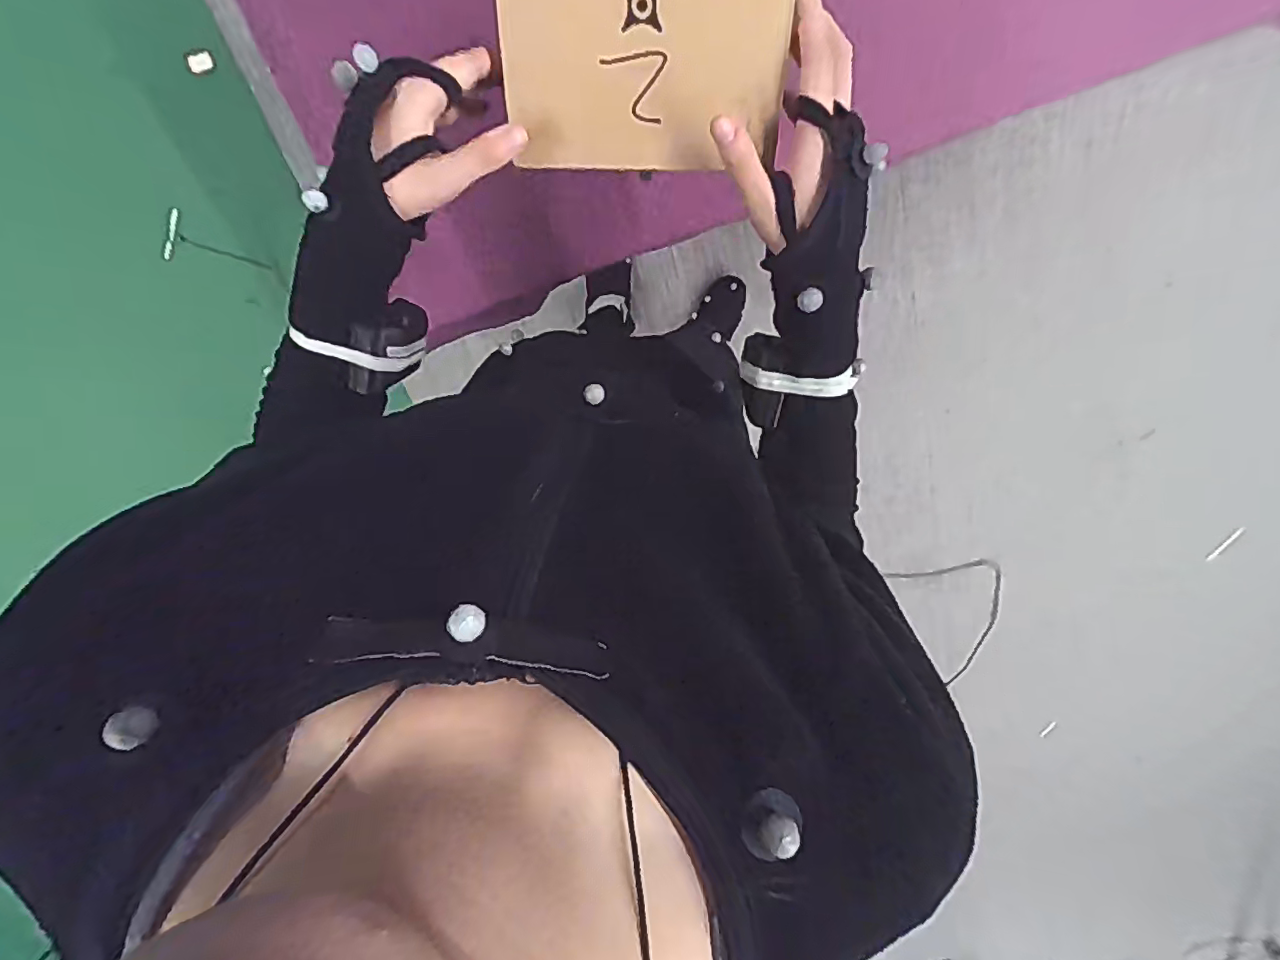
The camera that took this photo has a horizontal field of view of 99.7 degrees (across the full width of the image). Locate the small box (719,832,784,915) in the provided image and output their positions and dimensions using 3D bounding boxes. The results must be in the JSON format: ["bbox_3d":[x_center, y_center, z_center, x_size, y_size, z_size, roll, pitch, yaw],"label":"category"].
[{"bbox_3d":[0.385,1.362,1.885,0.168,0.176,0.179,-19,113,8],"label":"small box"}]

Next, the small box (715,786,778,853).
[{"bbox_3d":[0.397,1.292,2.035,0.179,0.176,0.168,-20,113,7],"label":"small box"}]
